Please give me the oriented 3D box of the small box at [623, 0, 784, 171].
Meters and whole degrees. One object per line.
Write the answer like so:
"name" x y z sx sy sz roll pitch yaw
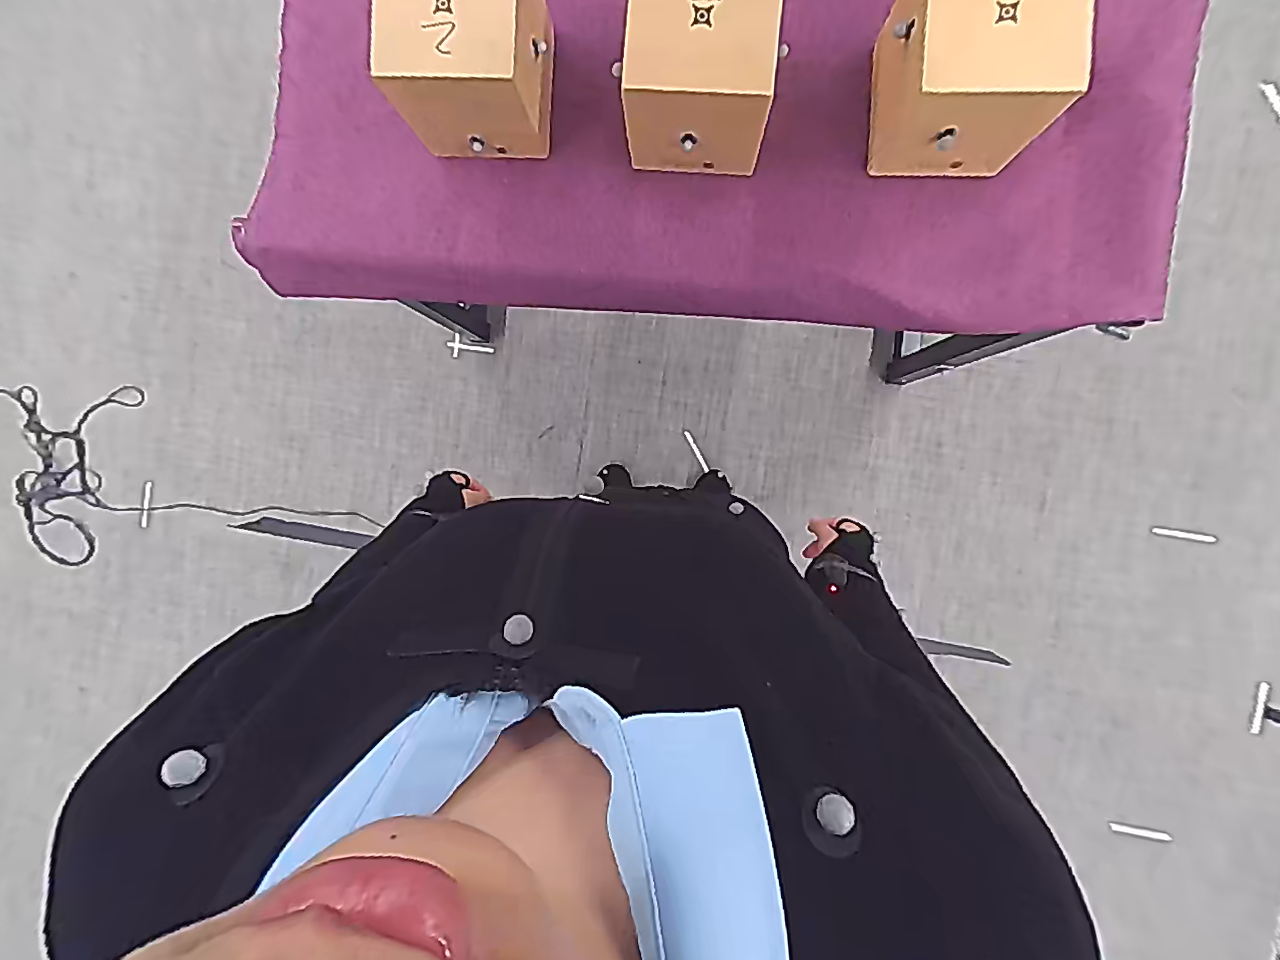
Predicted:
"small box" 0.076 -0.507 0.657 0.168 0.176 0.179 6 92 3

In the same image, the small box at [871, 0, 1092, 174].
"small box" 0.385 -0.488 0.637 0.168 0.176 0.179 3 91 5
